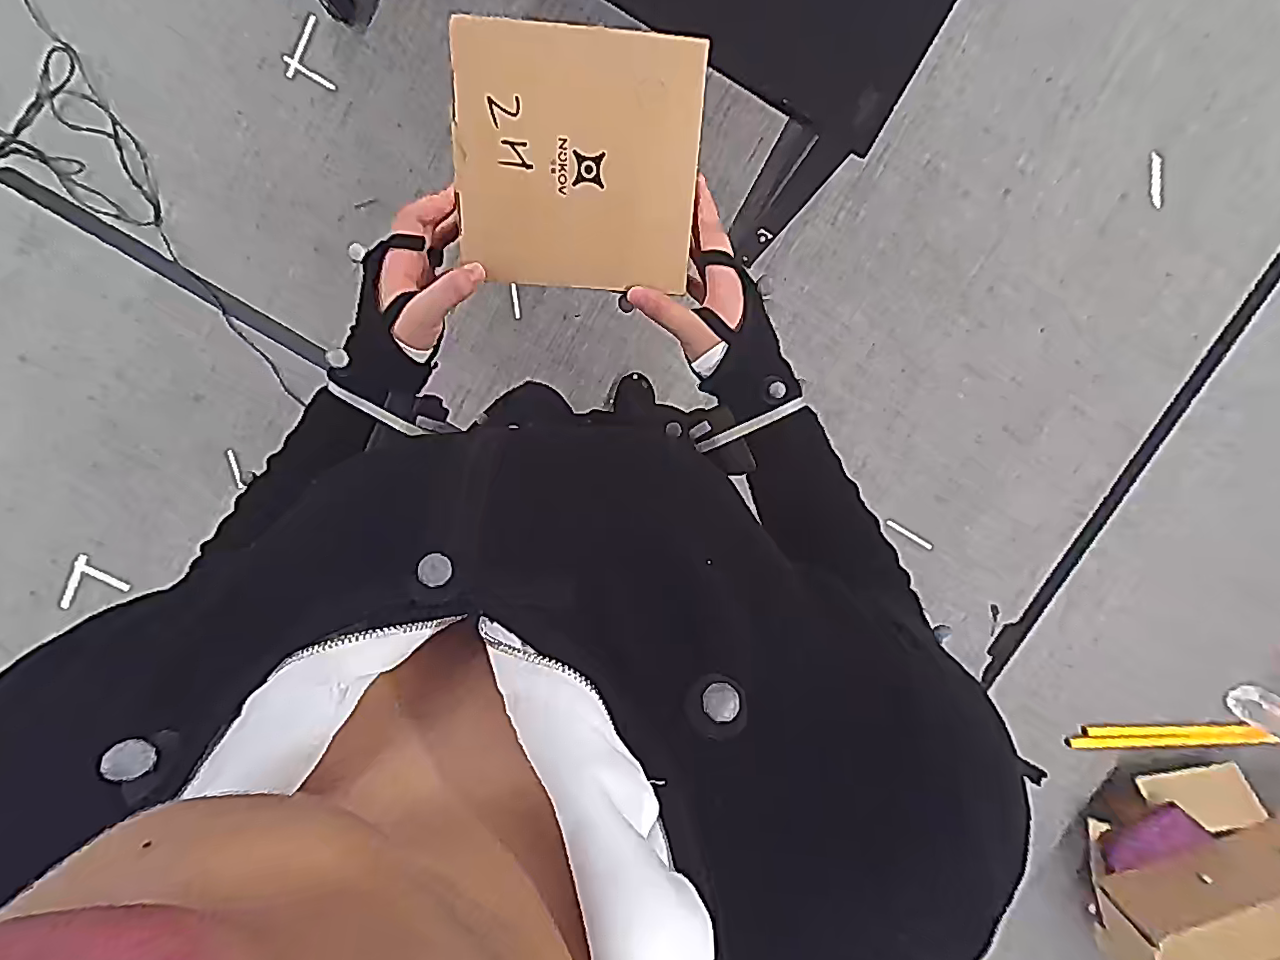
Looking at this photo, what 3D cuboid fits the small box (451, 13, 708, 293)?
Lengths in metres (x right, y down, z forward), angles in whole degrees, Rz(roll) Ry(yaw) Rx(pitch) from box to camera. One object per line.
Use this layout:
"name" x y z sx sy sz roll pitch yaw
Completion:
"small box" -0.048 -0.258 0.465 0.179 0.176 0.168 3 111 -3
